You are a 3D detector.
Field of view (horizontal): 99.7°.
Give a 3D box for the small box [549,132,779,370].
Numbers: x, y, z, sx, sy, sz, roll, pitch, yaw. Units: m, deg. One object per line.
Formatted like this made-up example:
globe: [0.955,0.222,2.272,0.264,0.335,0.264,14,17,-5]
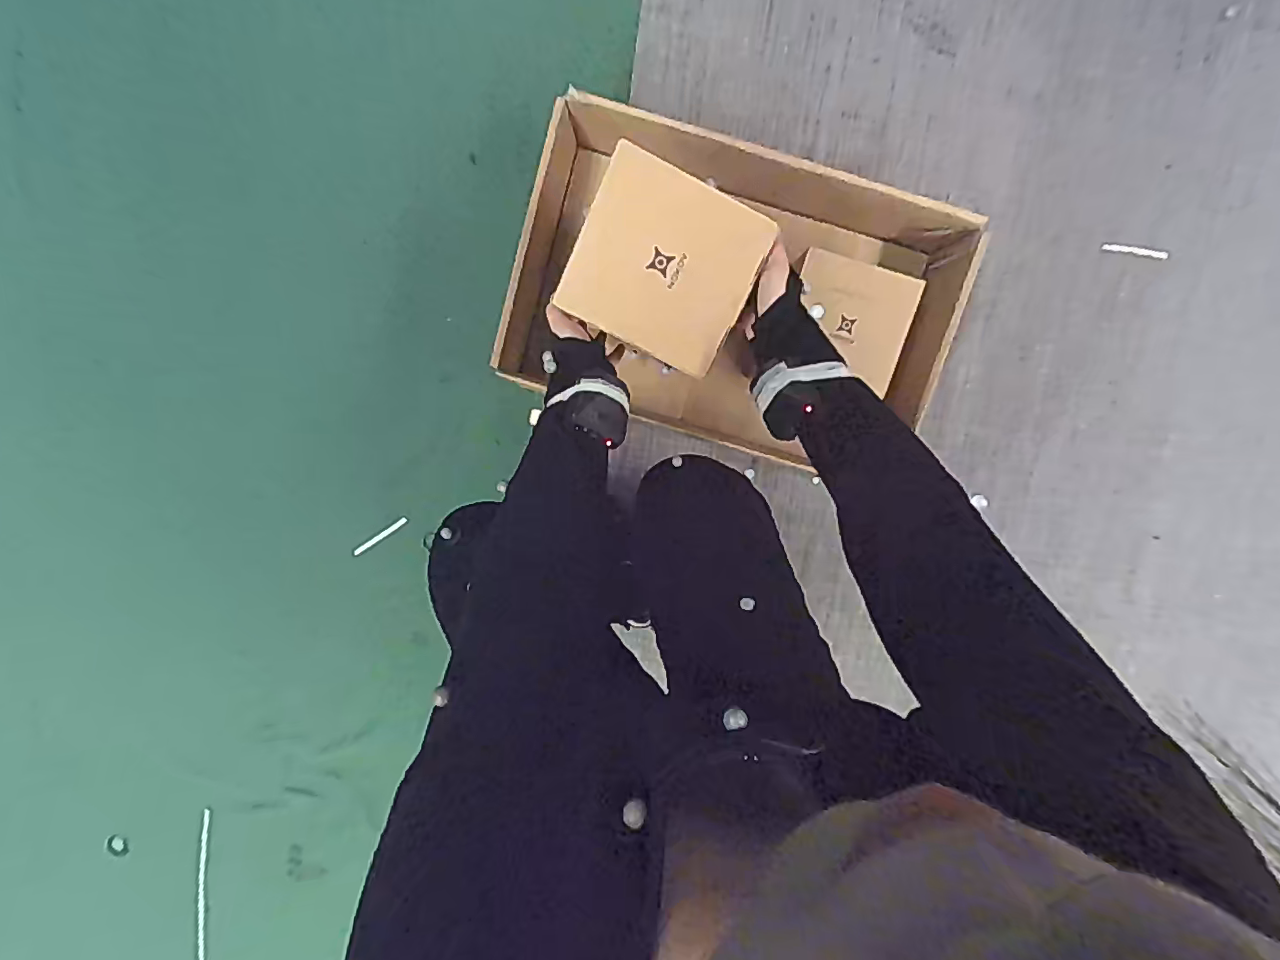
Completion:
small box: [0.019,-0.235,0.601,0.179,0.176,0.168,24,103,-8]
